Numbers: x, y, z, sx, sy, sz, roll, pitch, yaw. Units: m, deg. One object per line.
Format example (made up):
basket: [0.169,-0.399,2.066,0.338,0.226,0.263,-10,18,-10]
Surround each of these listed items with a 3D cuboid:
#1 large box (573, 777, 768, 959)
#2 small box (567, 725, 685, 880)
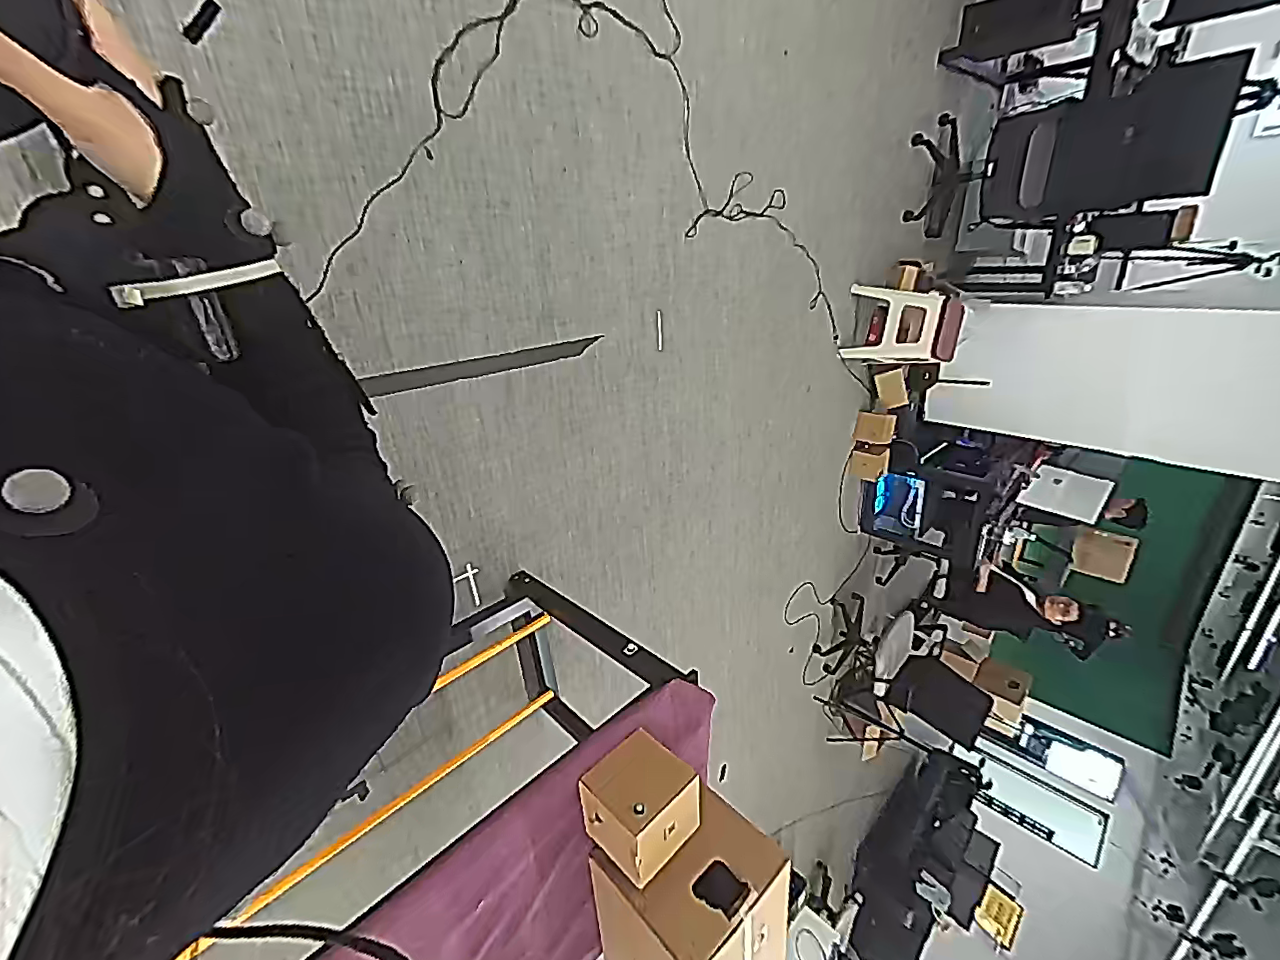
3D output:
large box: [0.075,0.967,1.235,0.320,0.320,0.408,-23,119,-38]
small box: [-0.026,0.648,1.110,0.179,0.176,0.168,-25,123,-38]
